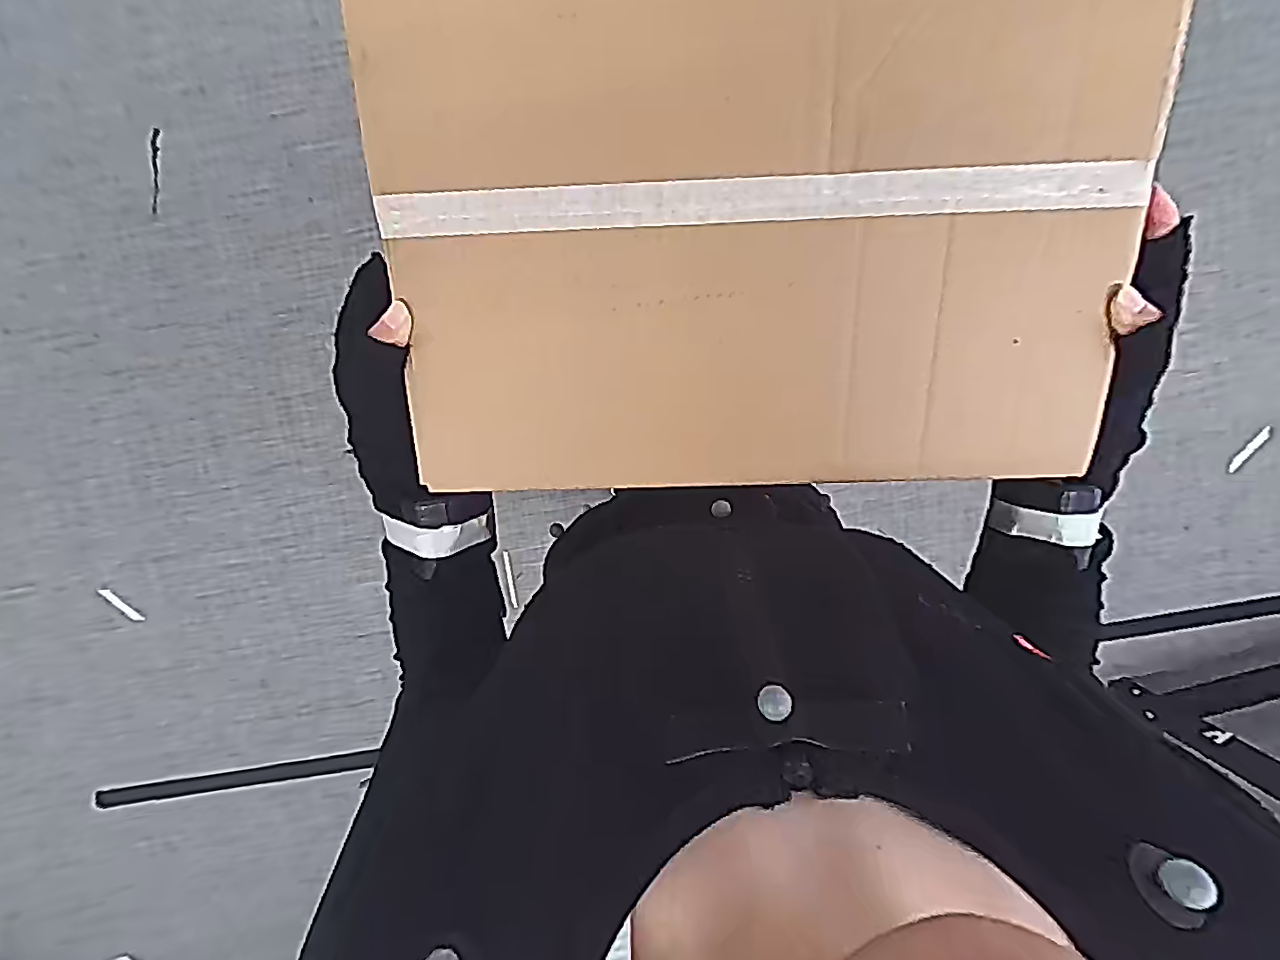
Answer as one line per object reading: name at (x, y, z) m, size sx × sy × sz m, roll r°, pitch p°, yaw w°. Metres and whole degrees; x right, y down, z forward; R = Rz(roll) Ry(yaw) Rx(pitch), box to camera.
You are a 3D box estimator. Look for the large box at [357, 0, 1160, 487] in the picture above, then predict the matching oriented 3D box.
large box at (0.060, -0.193, 0.439) m, size 0.408 × 0.320 × 0.320 m, roll -2°, pitch 108°, yaw 1°
